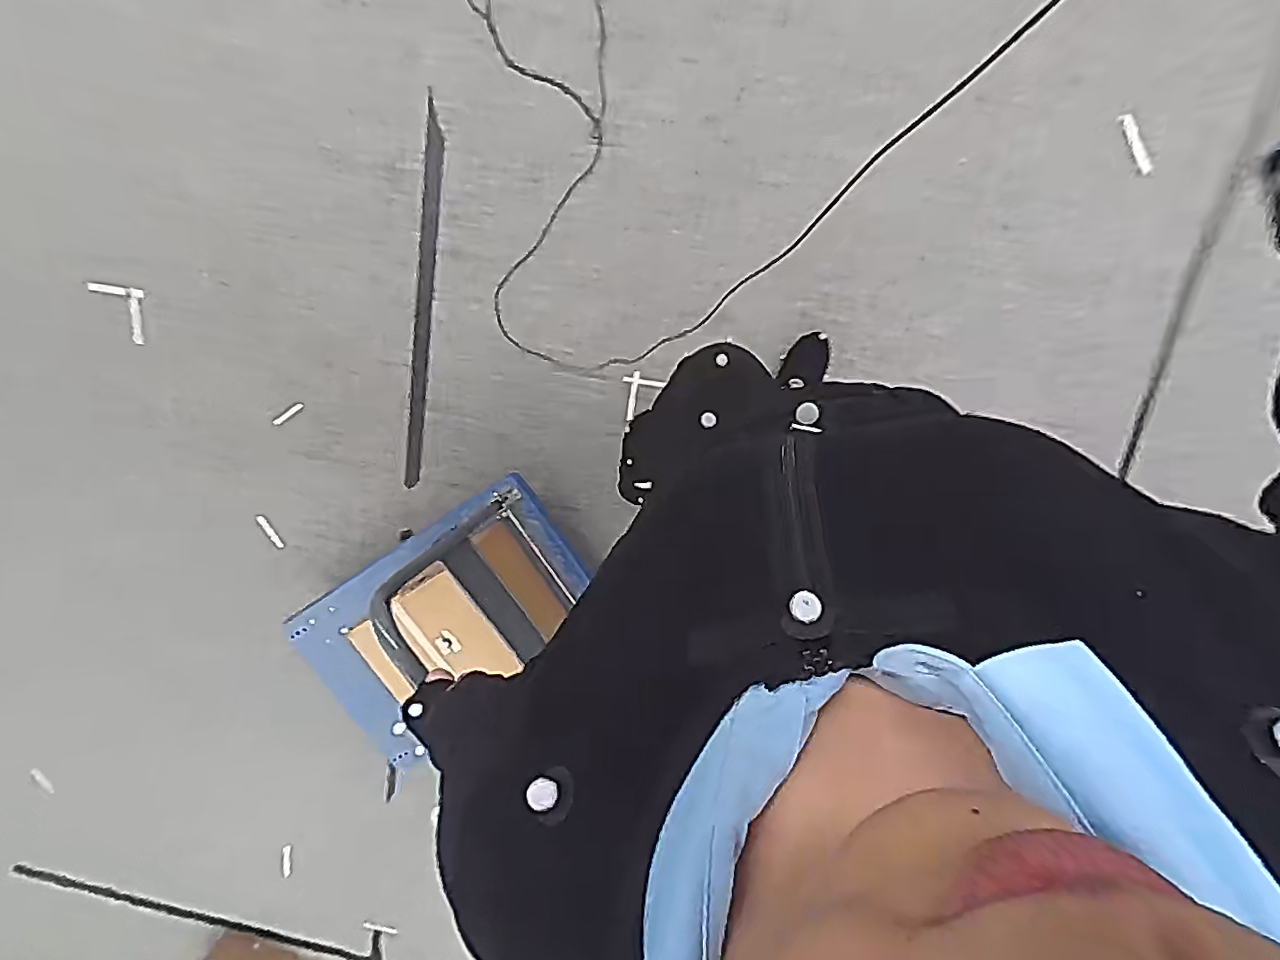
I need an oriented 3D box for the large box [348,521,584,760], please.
[{"bbox_3d":[-0.396,0.377,1.330,0.320,0.320,0.408,-32,98,12],"label":"large box"}]
